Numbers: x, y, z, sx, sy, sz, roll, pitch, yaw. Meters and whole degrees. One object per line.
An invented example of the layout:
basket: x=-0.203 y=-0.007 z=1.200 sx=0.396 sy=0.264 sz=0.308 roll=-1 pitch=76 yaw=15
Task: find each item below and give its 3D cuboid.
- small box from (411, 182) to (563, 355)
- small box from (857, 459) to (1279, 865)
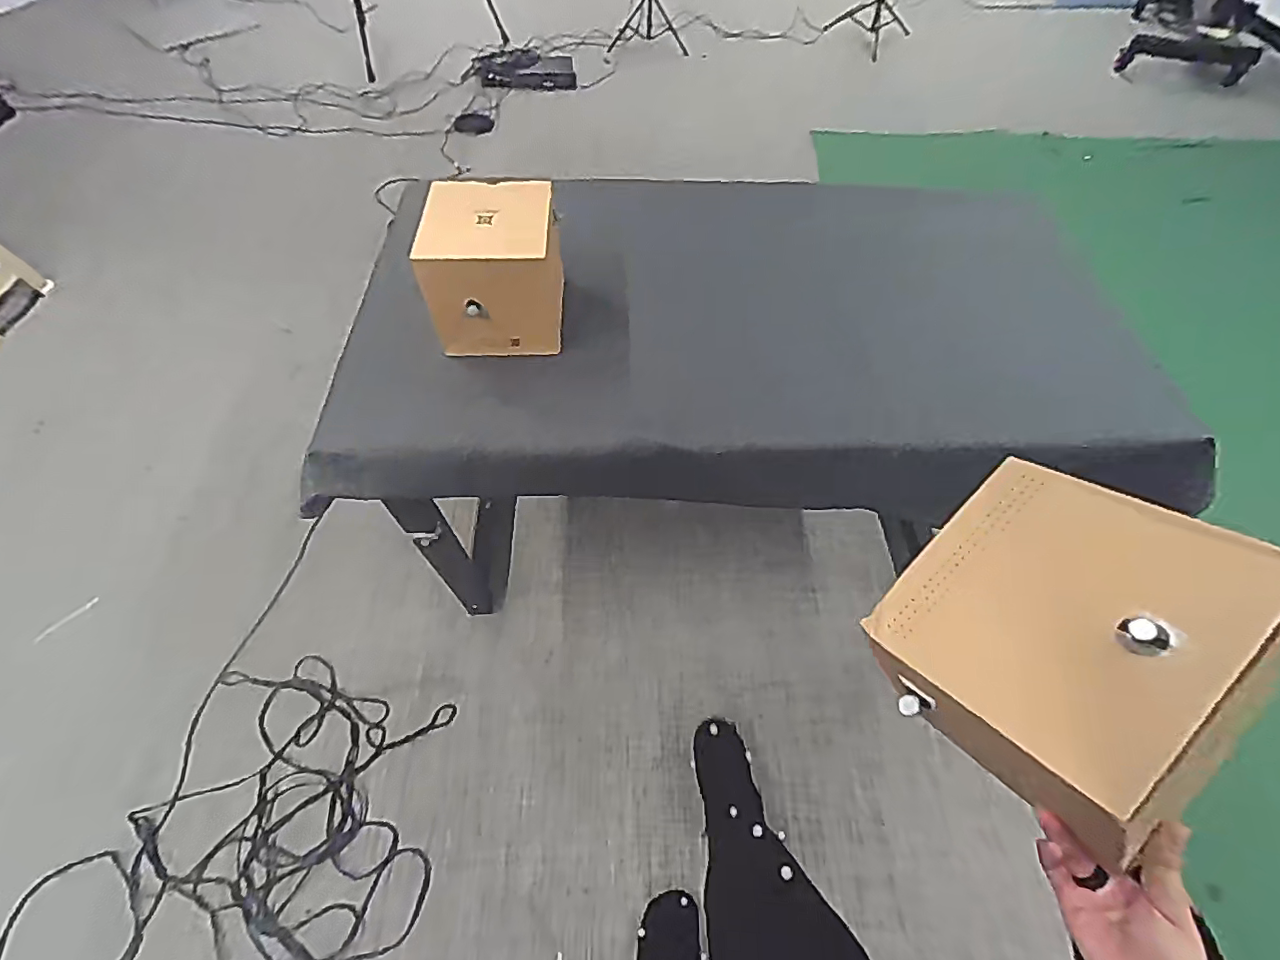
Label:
small box: x=-0.201 y=-0.294 z=0.768 sx=0.168 sy=0.176 sz=0.179 roll=-2 pitch=56 yaw=-3
small box: x=0.290 y=0.113 z=0.378 sx=0.179 sy=0.168 sz=0.176 roll=-45 pitch=36 yaw=-5
